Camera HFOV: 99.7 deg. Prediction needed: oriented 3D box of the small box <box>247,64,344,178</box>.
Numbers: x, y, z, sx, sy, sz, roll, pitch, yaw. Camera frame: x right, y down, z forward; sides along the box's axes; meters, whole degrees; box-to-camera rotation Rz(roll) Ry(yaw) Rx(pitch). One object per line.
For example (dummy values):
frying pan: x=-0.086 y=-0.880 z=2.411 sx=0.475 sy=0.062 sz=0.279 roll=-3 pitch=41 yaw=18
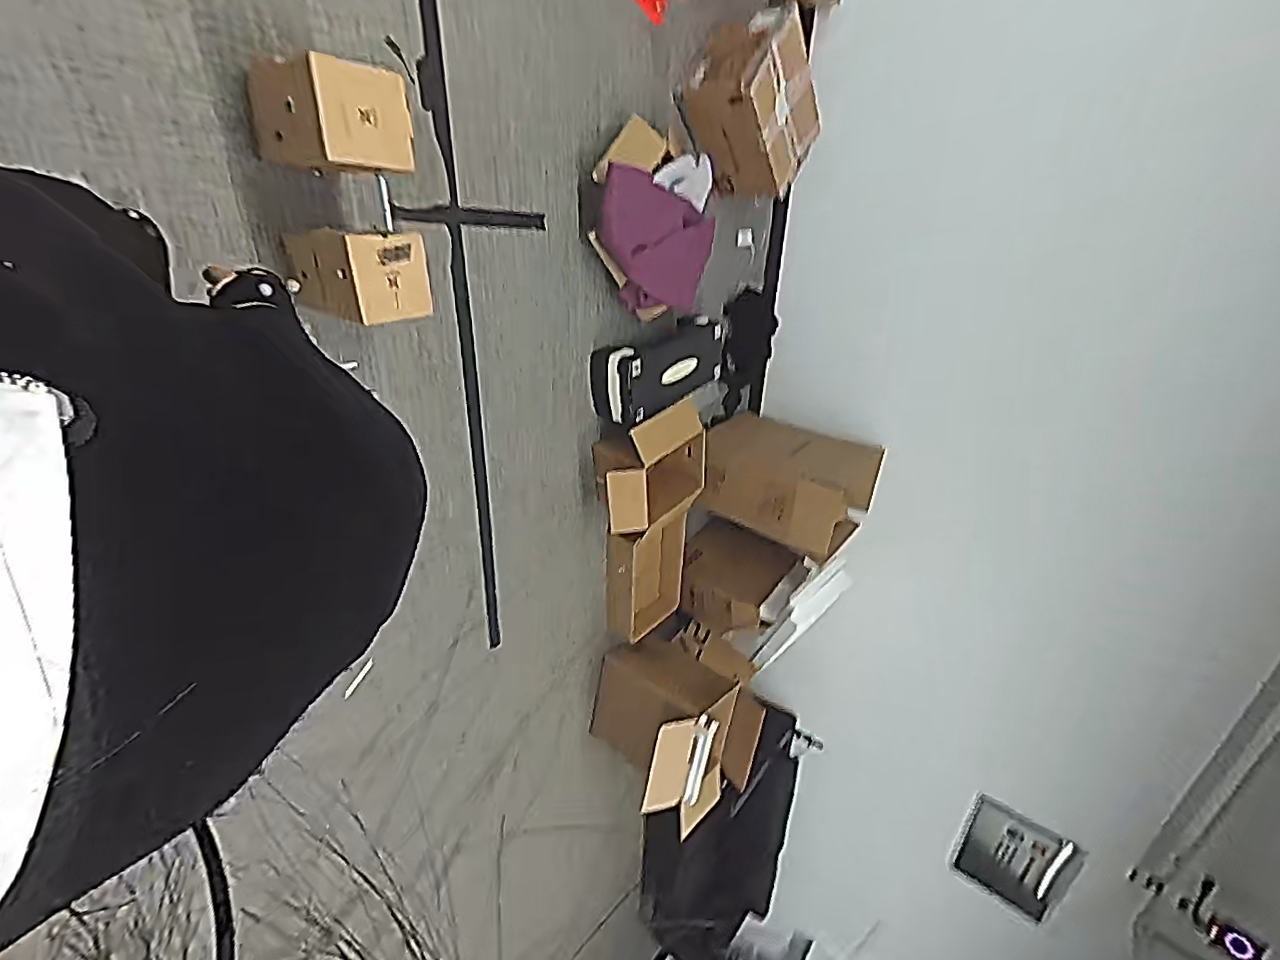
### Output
small box: x=-0.713 y=-0.760 z=1.167 sx=0.168 sy=0.176 sz=0.179 roll=-23 pitch=125 yaw=-46

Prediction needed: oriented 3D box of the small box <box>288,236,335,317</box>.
small box: x=-0.718 y=-0.495 z=1.303 sx=0.179 sy=0.176 sz=0.168 roll=-27 pitch=128 yaw=-42

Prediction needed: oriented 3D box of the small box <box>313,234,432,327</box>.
small box: x=-0.594 y=-0.450 z=1.202 sx=0.168 sy=0.176 sz=0.179 roll=-28 pitch=129 yaw=-43

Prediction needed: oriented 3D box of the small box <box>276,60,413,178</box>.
small box: x=-0.586 y=-0.707 z=1.079 sx=0.179 sy=0.176 sz=0.168 roll=-24 pitch=124 yaw=-44
